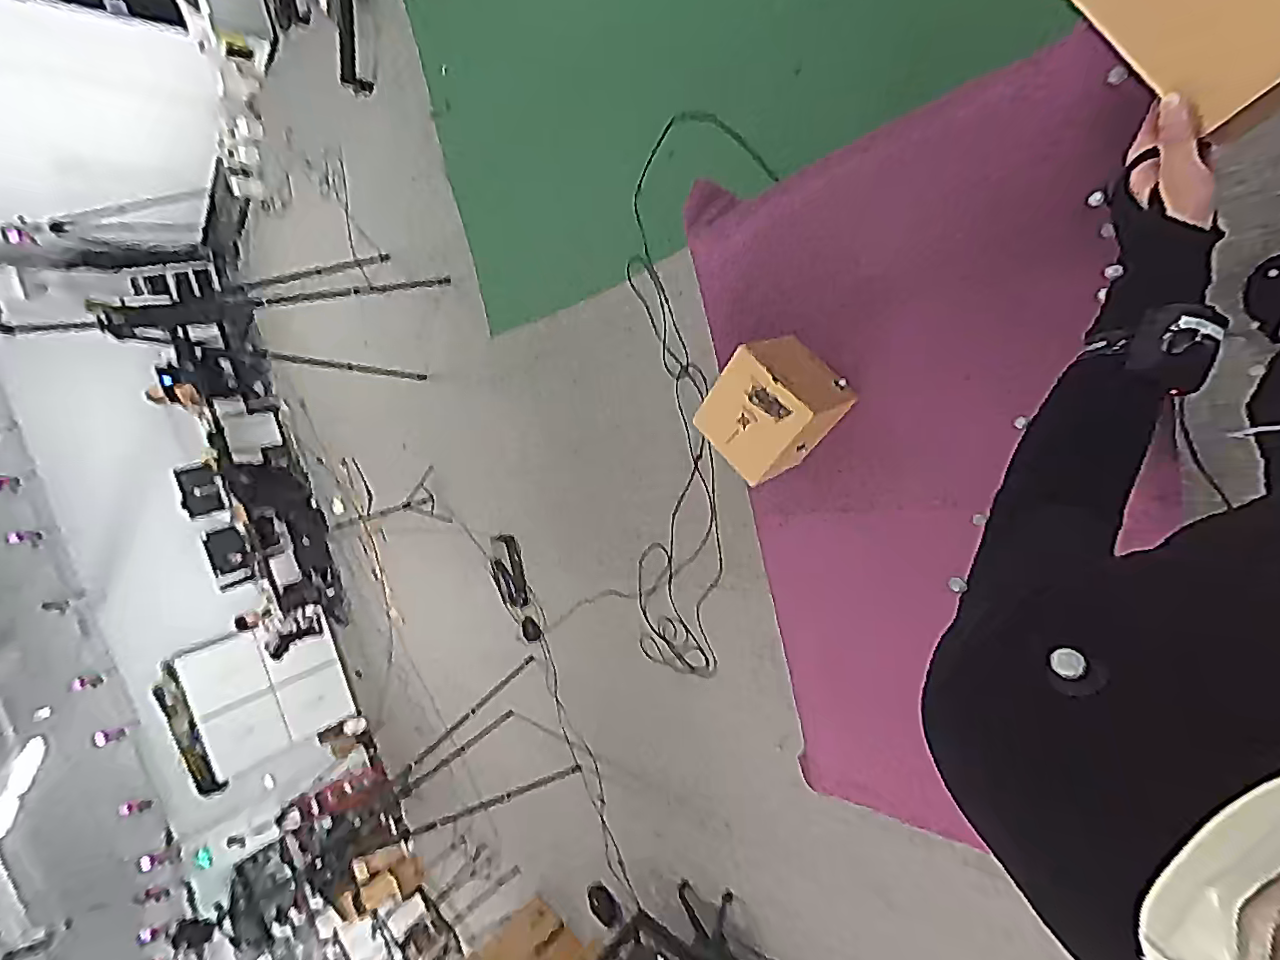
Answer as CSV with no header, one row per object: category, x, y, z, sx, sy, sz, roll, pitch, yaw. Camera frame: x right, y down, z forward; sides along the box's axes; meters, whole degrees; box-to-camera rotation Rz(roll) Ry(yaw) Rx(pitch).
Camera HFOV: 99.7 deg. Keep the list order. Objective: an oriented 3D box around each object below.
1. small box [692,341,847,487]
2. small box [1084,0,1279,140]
small box,0.230,-0.120,0.937,0.168,0.176,0.179,50,135,19
small box,0.499,-0.399,0.418,0.179,0.176,0.168,61,144,10
